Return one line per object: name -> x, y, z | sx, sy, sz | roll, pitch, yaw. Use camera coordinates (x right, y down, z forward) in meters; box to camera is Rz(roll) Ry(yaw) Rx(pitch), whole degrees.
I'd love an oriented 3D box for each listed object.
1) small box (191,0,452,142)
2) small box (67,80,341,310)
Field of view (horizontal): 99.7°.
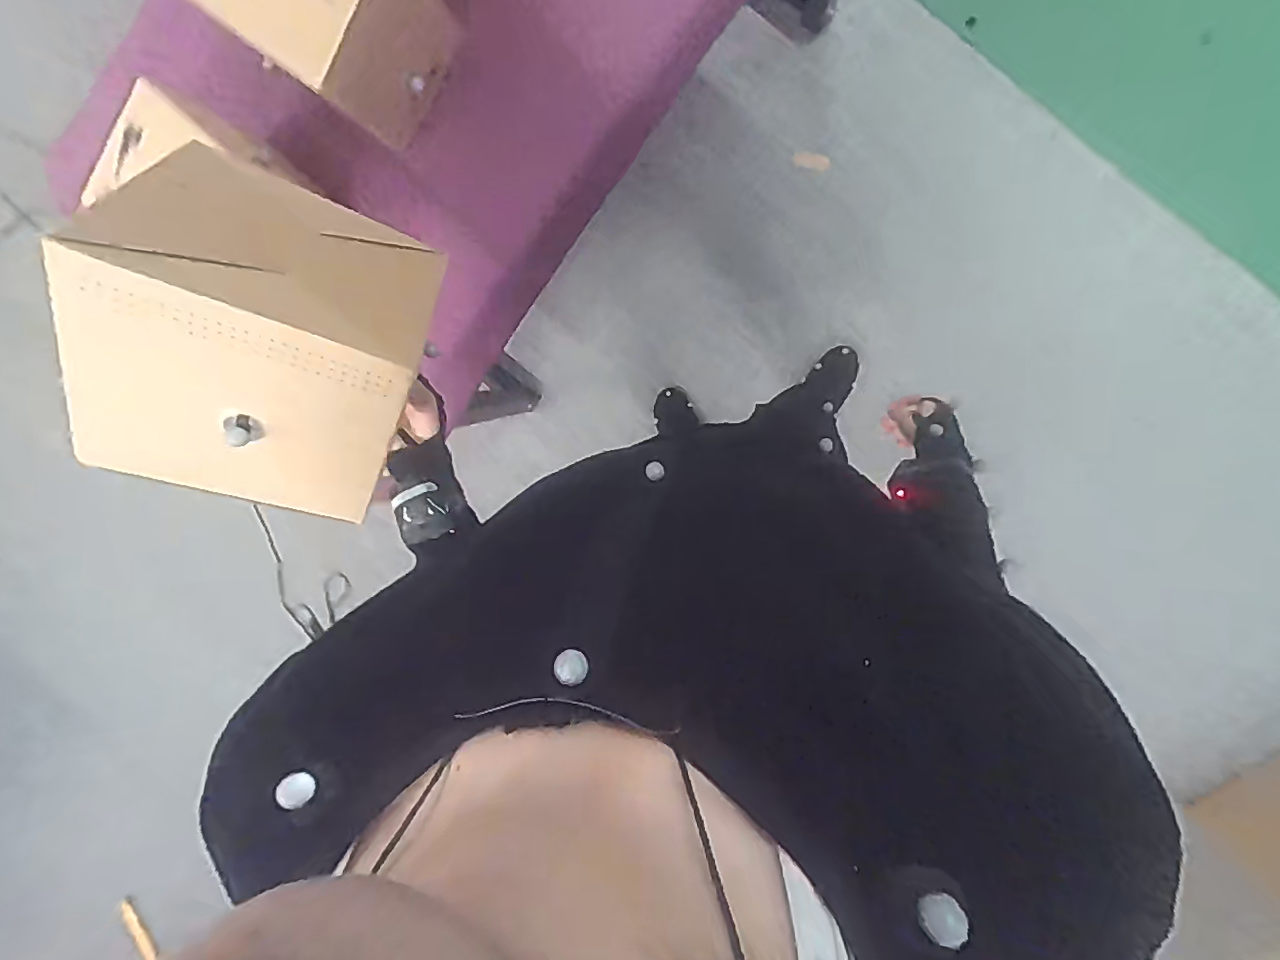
small box -> -0.354, -0.532, 0.616 | 0.179, 0.176, 0.168 | 36, 103, -1
small box -> -0.523, -0.332, 0.676 | 0.179, 0.176, 0.168 | 41, 103, -3
